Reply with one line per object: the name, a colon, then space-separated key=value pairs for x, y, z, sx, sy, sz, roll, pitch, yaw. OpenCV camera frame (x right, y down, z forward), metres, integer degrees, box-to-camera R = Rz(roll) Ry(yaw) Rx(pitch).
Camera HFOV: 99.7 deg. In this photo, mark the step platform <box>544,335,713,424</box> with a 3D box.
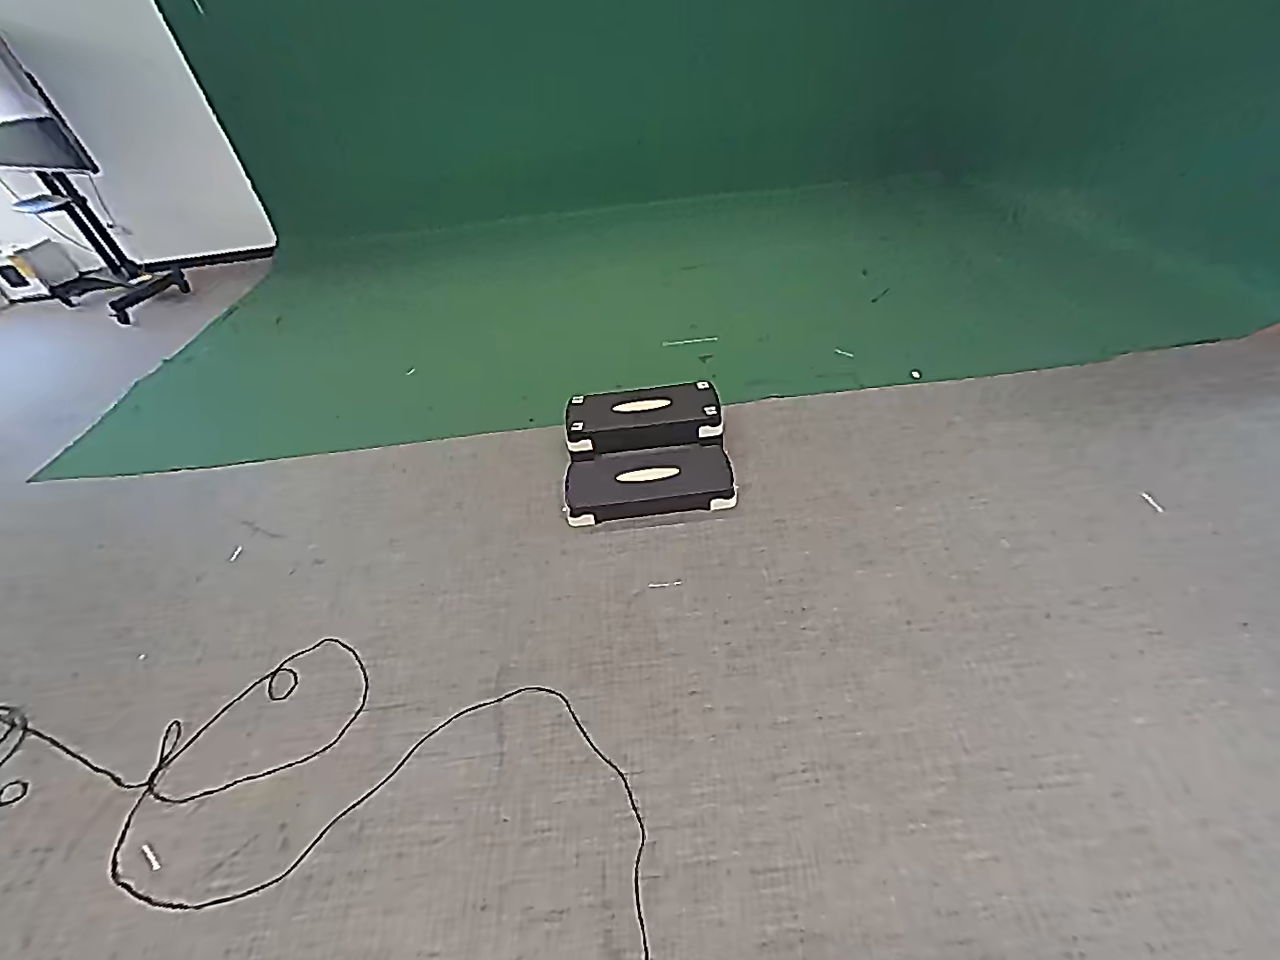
step platform: x=-0.043 y=-0.422 z=2.262 sx=0.684 sy=0.204 sz=0.286 roll=-7 pitch=43 yaw=1
